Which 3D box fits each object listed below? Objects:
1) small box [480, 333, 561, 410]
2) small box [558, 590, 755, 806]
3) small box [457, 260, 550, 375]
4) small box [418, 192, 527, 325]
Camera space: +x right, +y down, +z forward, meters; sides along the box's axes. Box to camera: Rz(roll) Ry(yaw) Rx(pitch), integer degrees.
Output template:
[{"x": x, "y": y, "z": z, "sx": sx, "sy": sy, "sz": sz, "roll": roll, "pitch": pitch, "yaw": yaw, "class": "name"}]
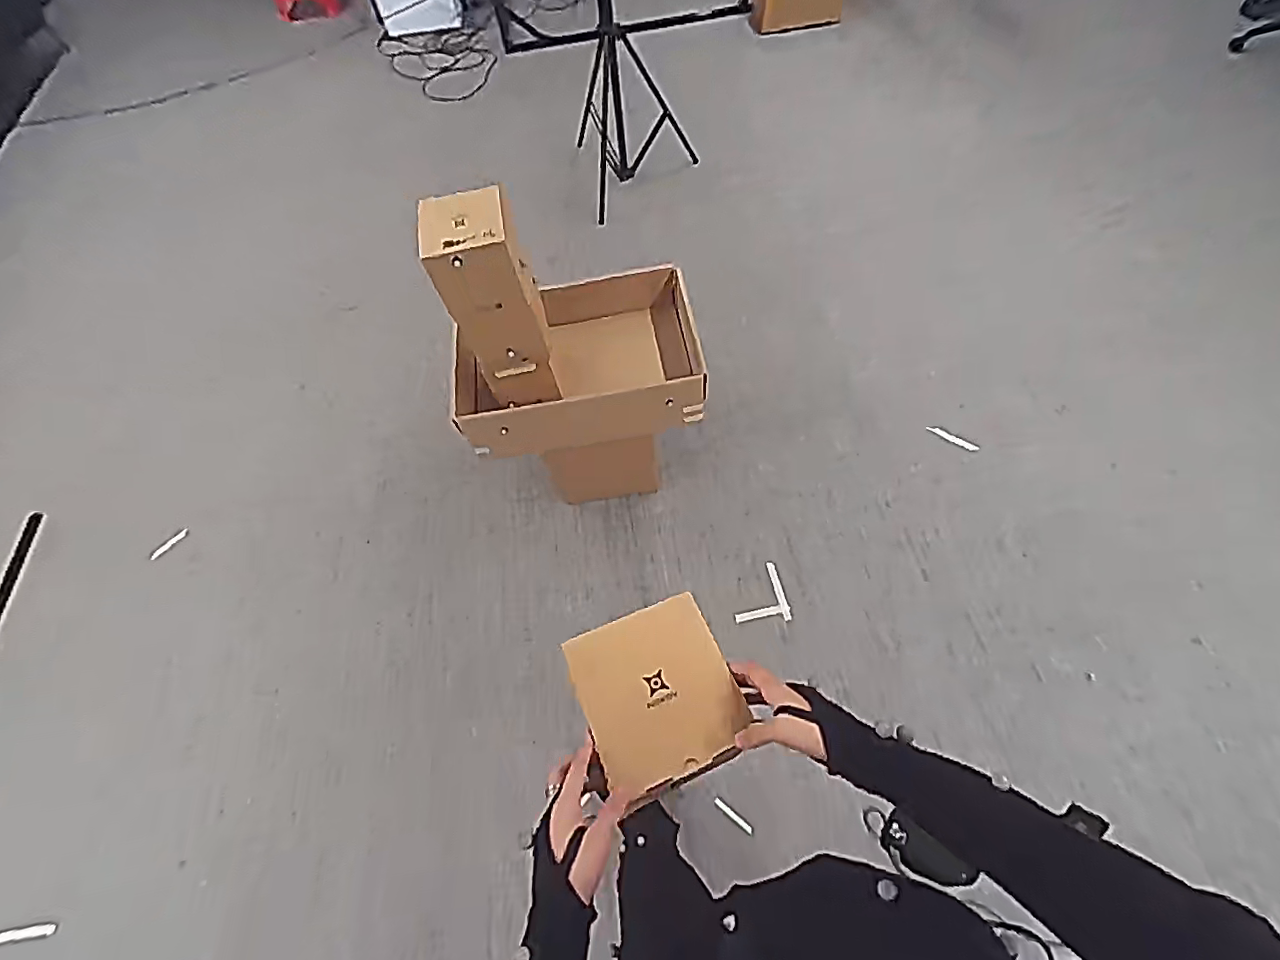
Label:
[{"x": -0.307, "y": -0.299, "z": 1.402, "sx": 0.168, "sy": 0.176, "sz": 0.179, "roll": -11, "pitch": 60, "yaw": 0, "class": "small box"}, {"x": 0.011, "y": 0.266, "z": 0.653, "sx": 0.168, "sy": 0.176, "sz": 0.179, "roll": -20, "pitch": 60, "yaw": -14, "class": "small box"}, {"x": -0.316, "y": -0.373, "z": 1.256, "sx": 0.168, "sy": 0.176, "sz": 0.179, "roll": -13, "pitch": 62, "yaw": 0, "class": "small box"}, {"x": -0.339, "y": -0.450, "z": 1.112, "sx": 0.168, "sy": 0.176, "sz": 0.179, "roll": -13, "pitch": 60, "yaw": 0, "class": "small box"}]
